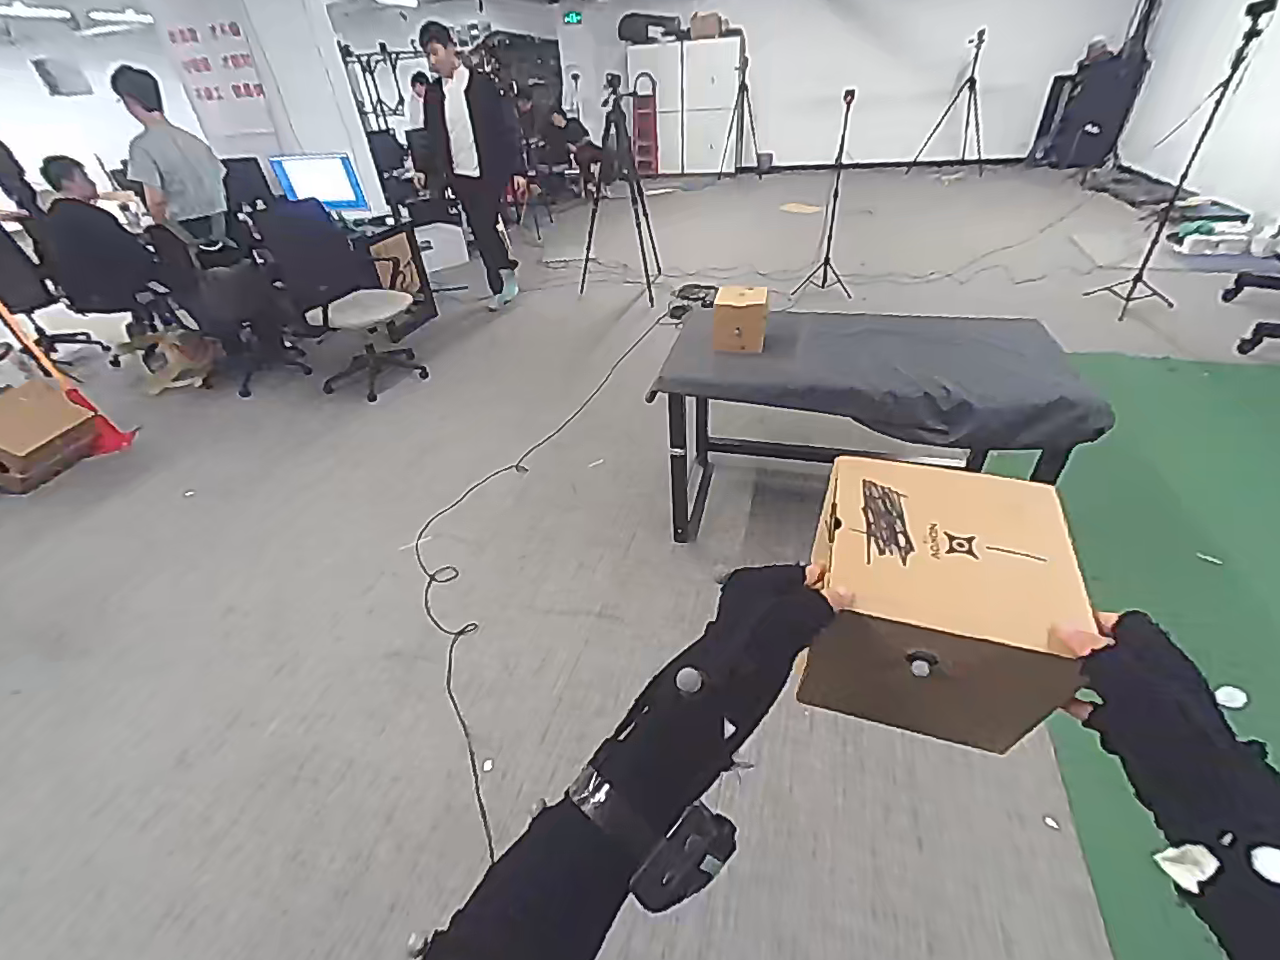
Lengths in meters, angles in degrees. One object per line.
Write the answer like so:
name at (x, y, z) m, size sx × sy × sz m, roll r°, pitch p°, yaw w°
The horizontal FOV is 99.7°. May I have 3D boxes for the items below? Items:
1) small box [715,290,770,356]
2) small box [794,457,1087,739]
small box at (0.349, -0.533, 1.836) m, size 0.168 × 0.176 × 0.179 m, roll 5°, pitch 39°, yaw 14°
small box at (0.240, 0.105, 0.483) m, size 0.179 × 0.176 × 0.168 m, roll 10°, pitch 47°, yaw 15°
